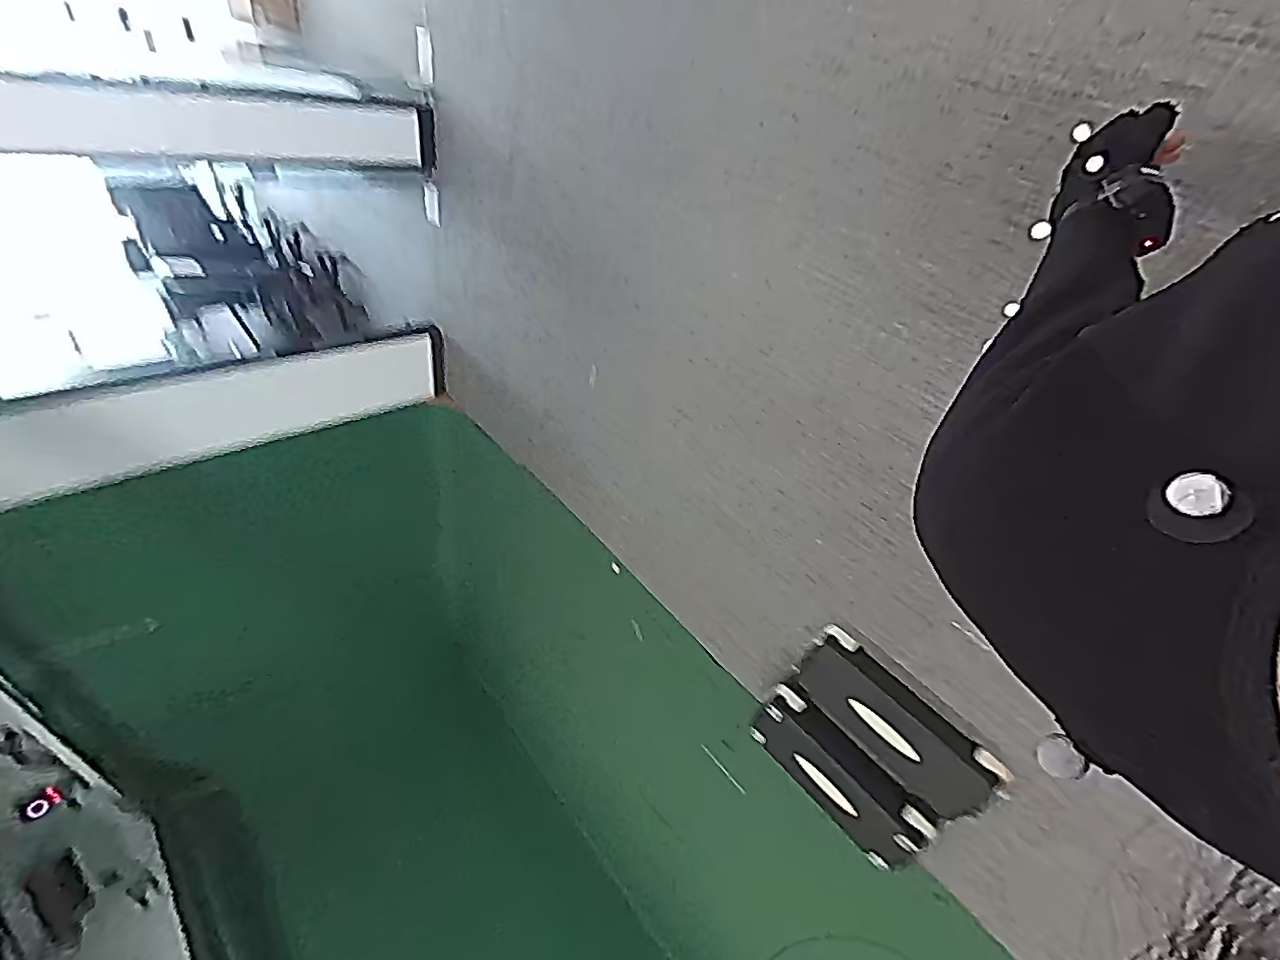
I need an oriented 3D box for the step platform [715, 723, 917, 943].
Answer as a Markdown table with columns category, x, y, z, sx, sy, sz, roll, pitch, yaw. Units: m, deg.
| category | x | y | z | sx | sy | sz | roll | pitch | yaw |
| --- | --- | --- | --- | --- | --- | --- | --- | --- | --- |
| step platform | 0.598 | 1.210 | 1.905 | 0.684 | 0.204 | 0.286 | 40 | 135 | 27 |
